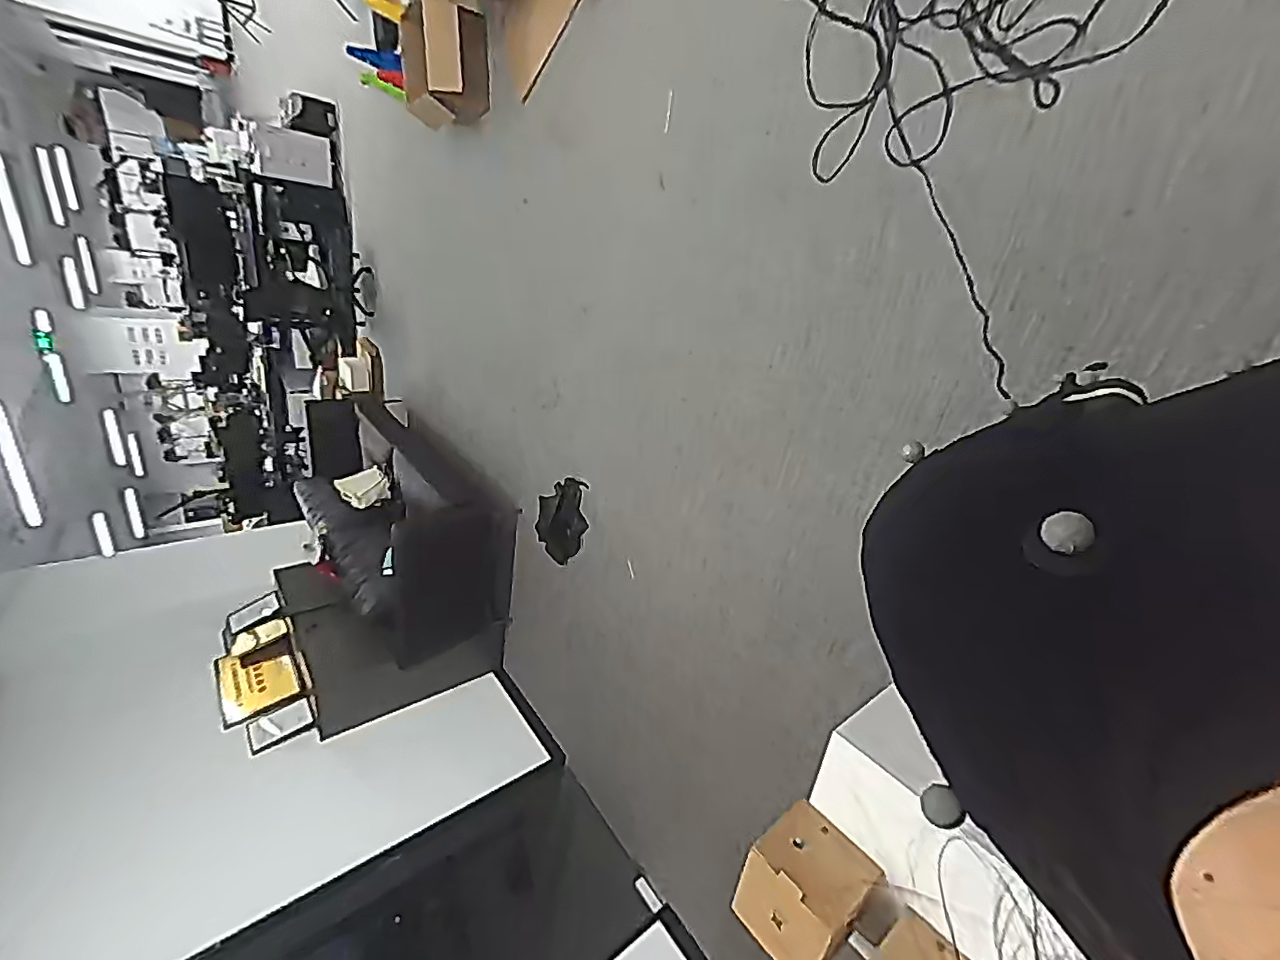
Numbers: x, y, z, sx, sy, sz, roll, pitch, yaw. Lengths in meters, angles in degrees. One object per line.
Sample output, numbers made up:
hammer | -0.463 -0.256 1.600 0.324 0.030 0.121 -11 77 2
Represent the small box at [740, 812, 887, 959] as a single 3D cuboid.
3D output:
small box | 0.307 0.741 0.955 0.168 0.176 0.179 30 121 44
